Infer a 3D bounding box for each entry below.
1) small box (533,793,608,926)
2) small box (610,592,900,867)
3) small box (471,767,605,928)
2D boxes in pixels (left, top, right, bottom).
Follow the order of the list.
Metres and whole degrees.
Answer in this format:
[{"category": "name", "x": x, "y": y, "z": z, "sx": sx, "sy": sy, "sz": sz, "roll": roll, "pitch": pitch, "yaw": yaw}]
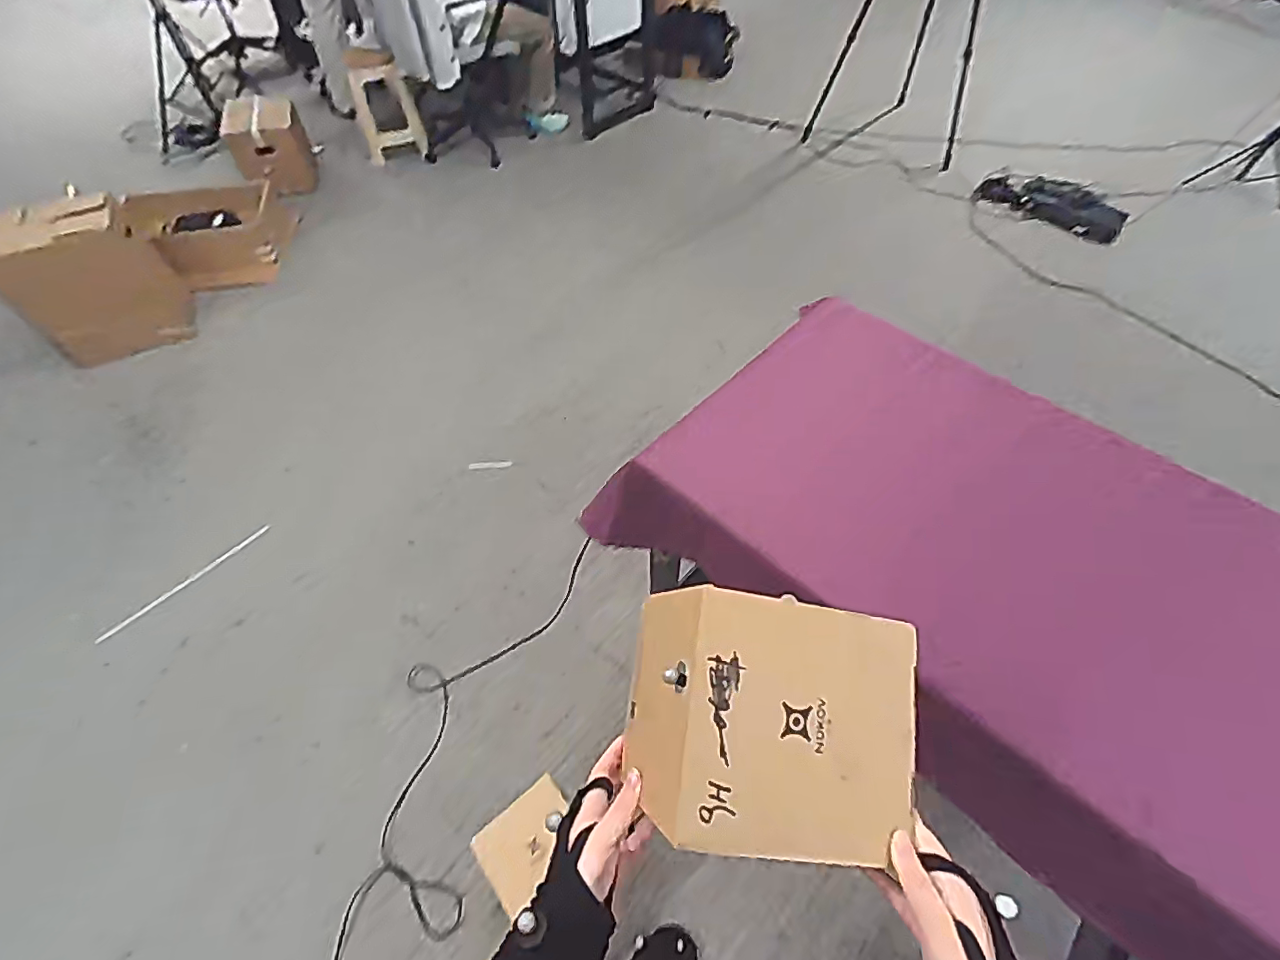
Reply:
[{"category": "small box", "x": -0.180, "y": 0.773, "z": 1.125, "sx": 0.179, "sy": 0.176, "sz": 0.168, "roll": -38, "pitch": 63, "yaw": -24}, {"category": "small box", "x": 0.087, "y": 0.193, "z": 0.452, "sx": 0.179, "sy": 0.176, "sz": 0.168, "roll": 12, "pitch": 72, "yaw": -13}, {"category": "small box", "x": -0.180, "y": 0.670, "z": 0.995, "sx": 0.168, "sy": 0.176, "sz": 0.179, "roll": -35, "pitch": 63, "yaw": -21}]
